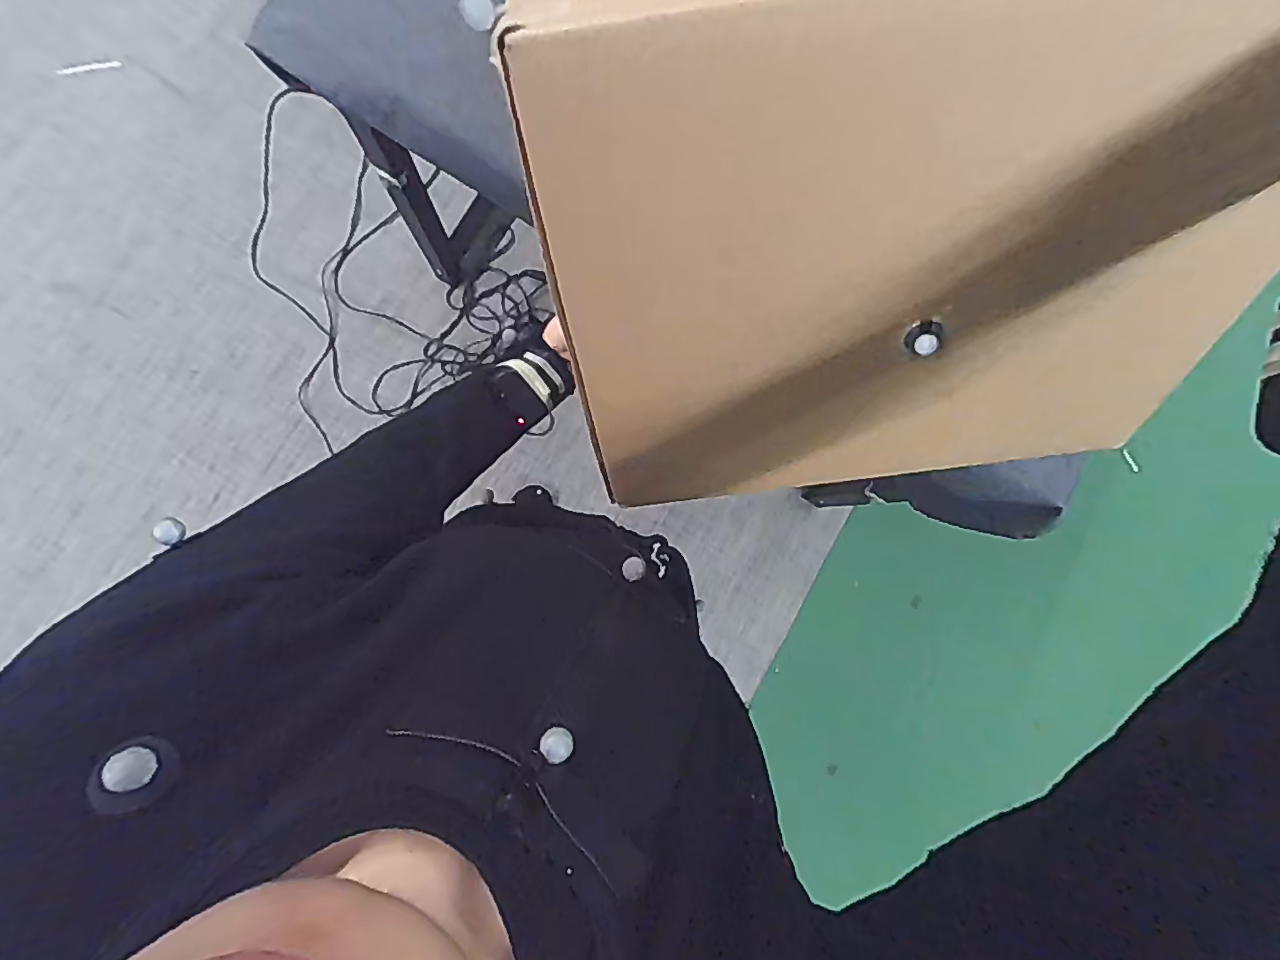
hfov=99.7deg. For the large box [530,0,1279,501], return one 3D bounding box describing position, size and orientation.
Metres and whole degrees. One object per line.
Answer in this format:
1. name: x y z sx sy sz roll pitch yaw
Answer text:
1. large box: 0.156 -0.216 0.416 0.408 0.320 0.320 -9 51 3
